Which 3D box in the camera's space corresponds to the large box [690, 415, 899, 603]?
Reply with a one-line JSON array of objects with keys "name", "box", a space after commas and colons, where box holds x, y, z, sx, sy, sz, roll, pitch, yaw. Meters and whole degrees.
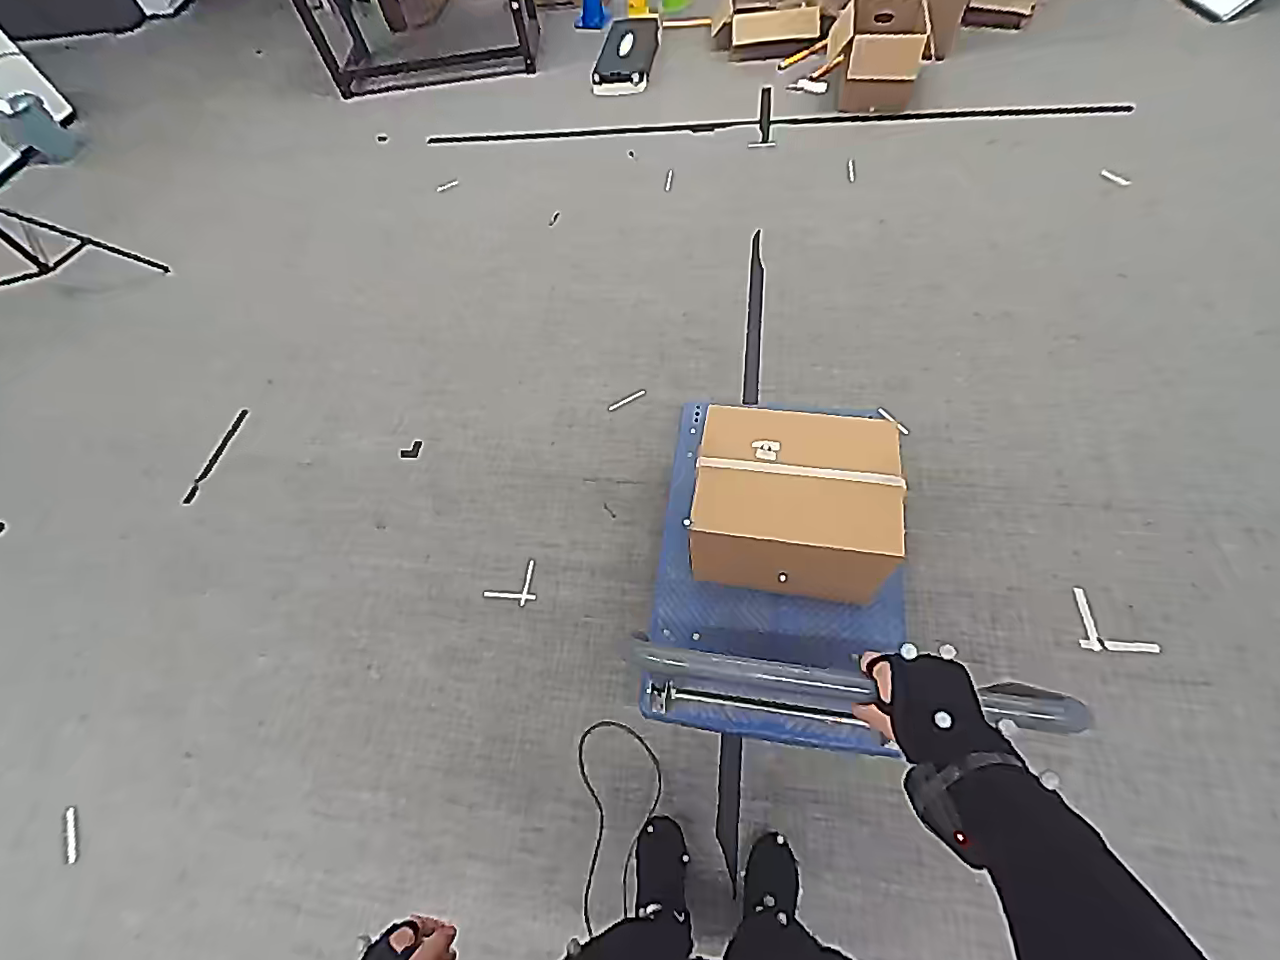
[{"name": "large box", "box": [0.337, 0.073, 1.250, 0.408, 0.320, 0.320, 6, 60, 11]}]
